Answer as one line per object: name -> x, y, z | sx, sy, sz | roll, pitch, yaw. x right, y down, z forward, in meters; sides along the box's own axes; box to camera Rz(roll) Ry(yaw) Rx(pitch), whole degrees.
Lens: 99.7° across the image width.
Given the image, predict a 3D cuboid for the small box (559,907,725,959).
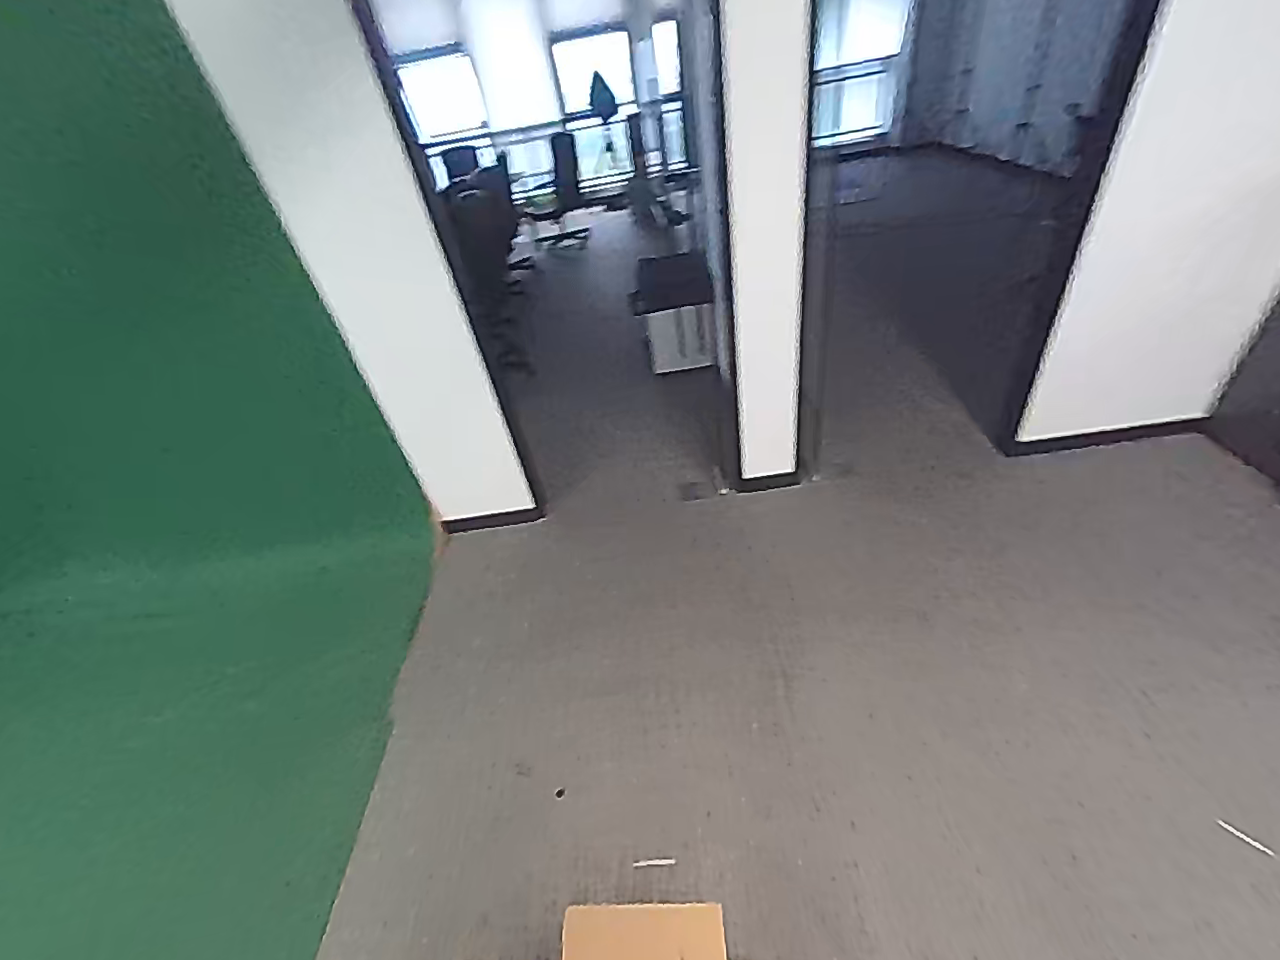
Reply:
small box -> 0.008, 0.584, 0.572 | 0.179, 0.176, 0.168 | -4, 35, 2
